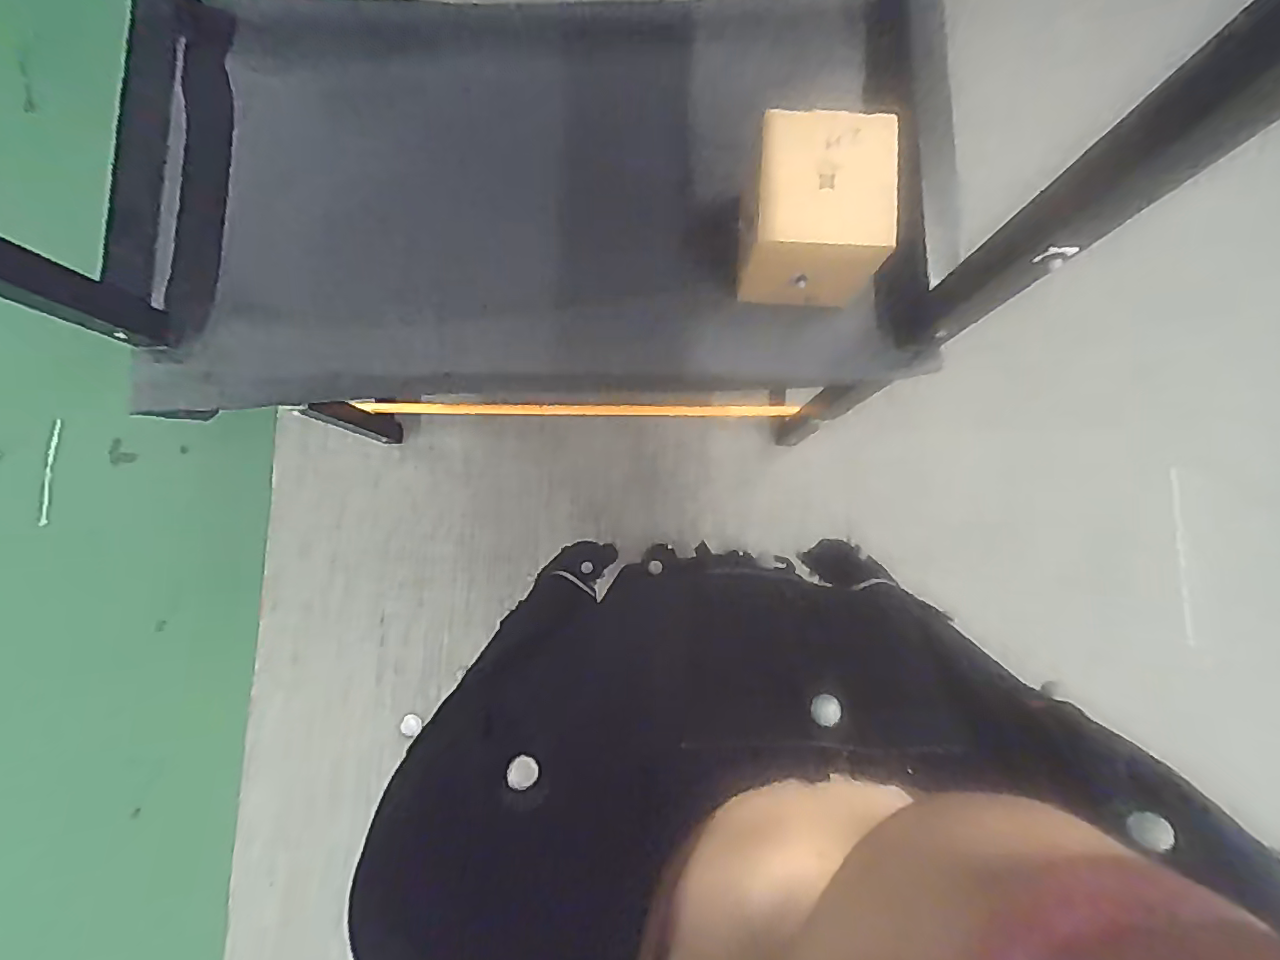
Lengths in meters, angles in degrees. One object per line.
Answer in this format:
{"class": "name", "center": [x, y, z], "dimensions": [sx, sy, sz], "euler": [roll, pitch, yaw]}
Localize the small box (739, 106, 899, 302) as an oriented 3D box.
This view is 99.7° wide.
{"class": "small box", "center": [0.230, -0.359, 0.732], "dimensions": [0.168, 0.176, 0.179], "euler": [4, 83, 1]}
